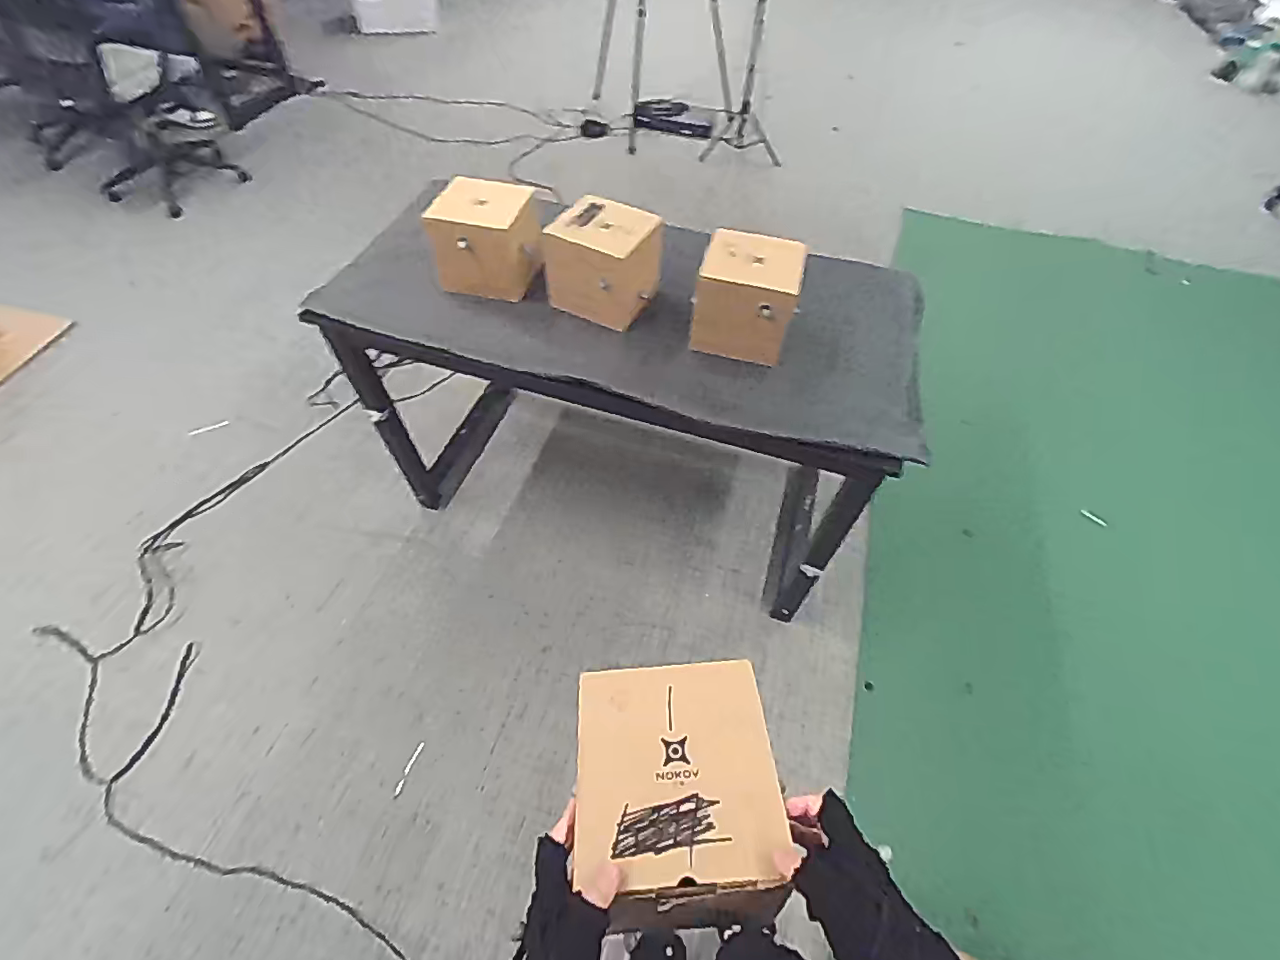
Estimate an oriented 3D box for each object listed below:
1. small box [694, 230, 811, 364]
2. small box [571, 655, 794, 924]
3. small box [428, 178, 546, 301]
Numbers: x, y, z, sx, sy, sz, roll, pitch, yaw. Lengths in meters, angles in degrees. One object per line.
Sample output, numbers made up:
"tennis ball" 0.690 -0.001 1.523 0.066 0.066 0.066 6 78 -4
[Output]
"small box" 0.212 -0.347 1.040 0.179 0.176 0.168 14 55 8
"small box" 0.032 0.289 0.503 0.168 0.176 0.179 -5 42 -1
"small box" -0.309 -0.502 1.140 0.179 0.176 0.168 11 55 7
